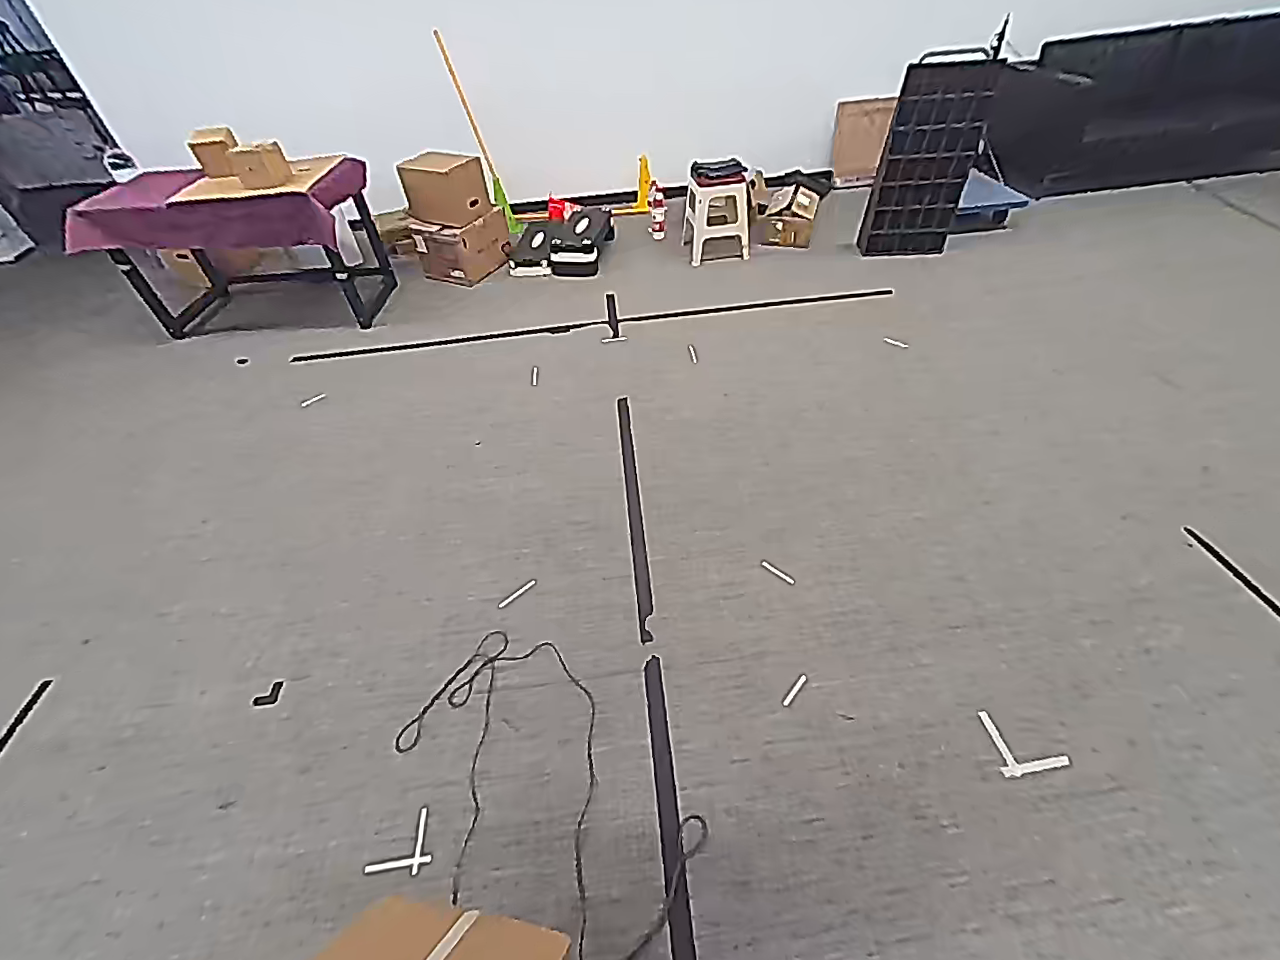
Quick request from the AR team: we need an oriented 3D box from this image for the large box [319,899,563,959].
[{"bbox_3d":[-0.308,0.794,0.625,0.320,0.408,0.320,3,80,10],"label":"large box"}]
